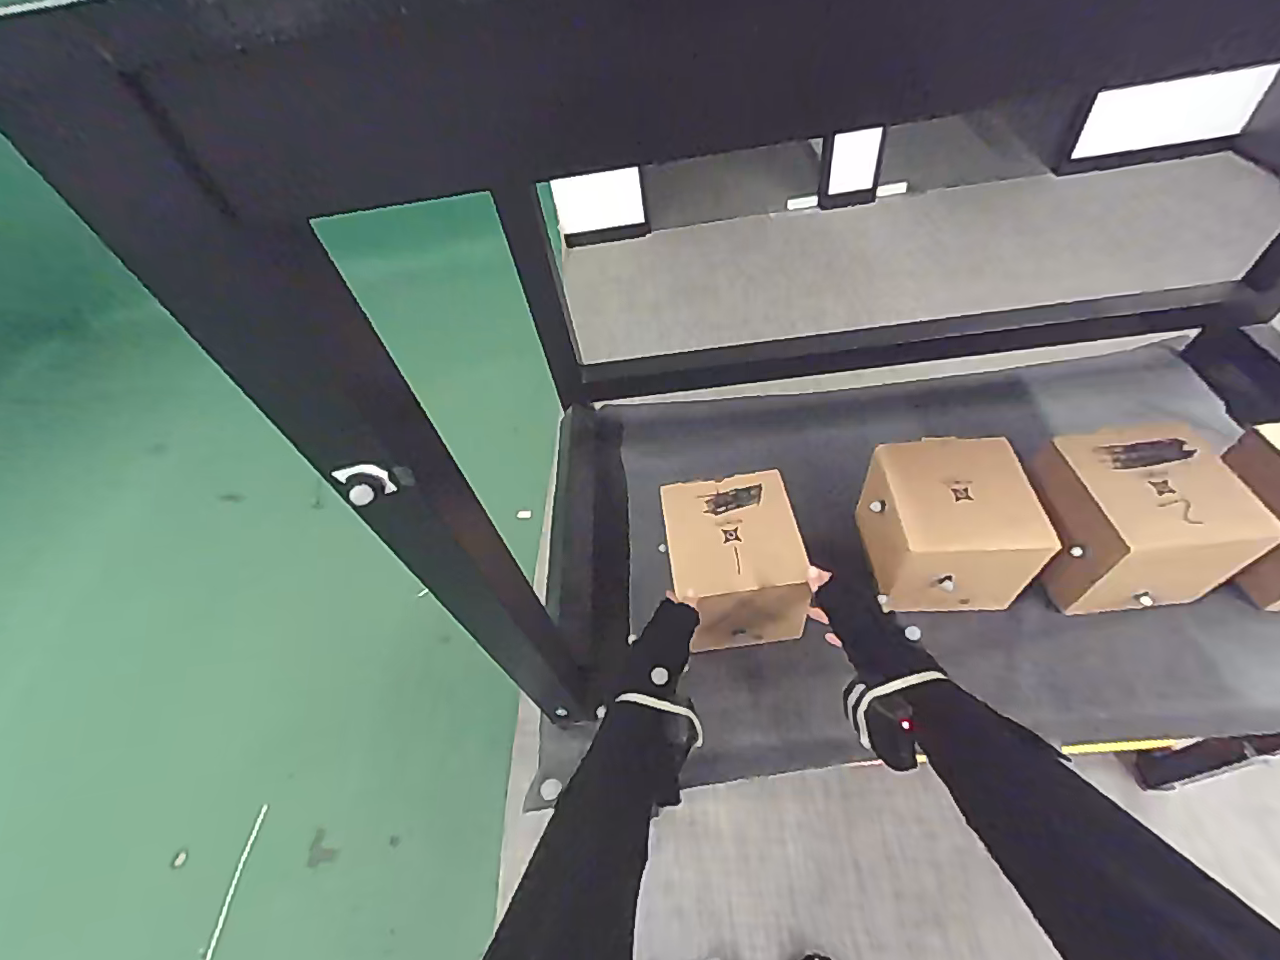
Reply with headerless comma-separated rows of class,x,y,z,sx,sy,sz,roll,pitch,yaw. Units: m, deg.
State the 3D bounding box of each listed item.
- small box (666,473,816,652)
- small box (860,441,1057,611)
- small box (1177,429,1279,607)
small box,0.129,0.117,0.749,0.168,0.176,0.179,-8,51,3
small box,0.414,0.070,0.741,0.168,0.176,0.179,-3,51,8
small box,0.857,0.048,0.676,0.168,0.176,0.179,-7,50,4
